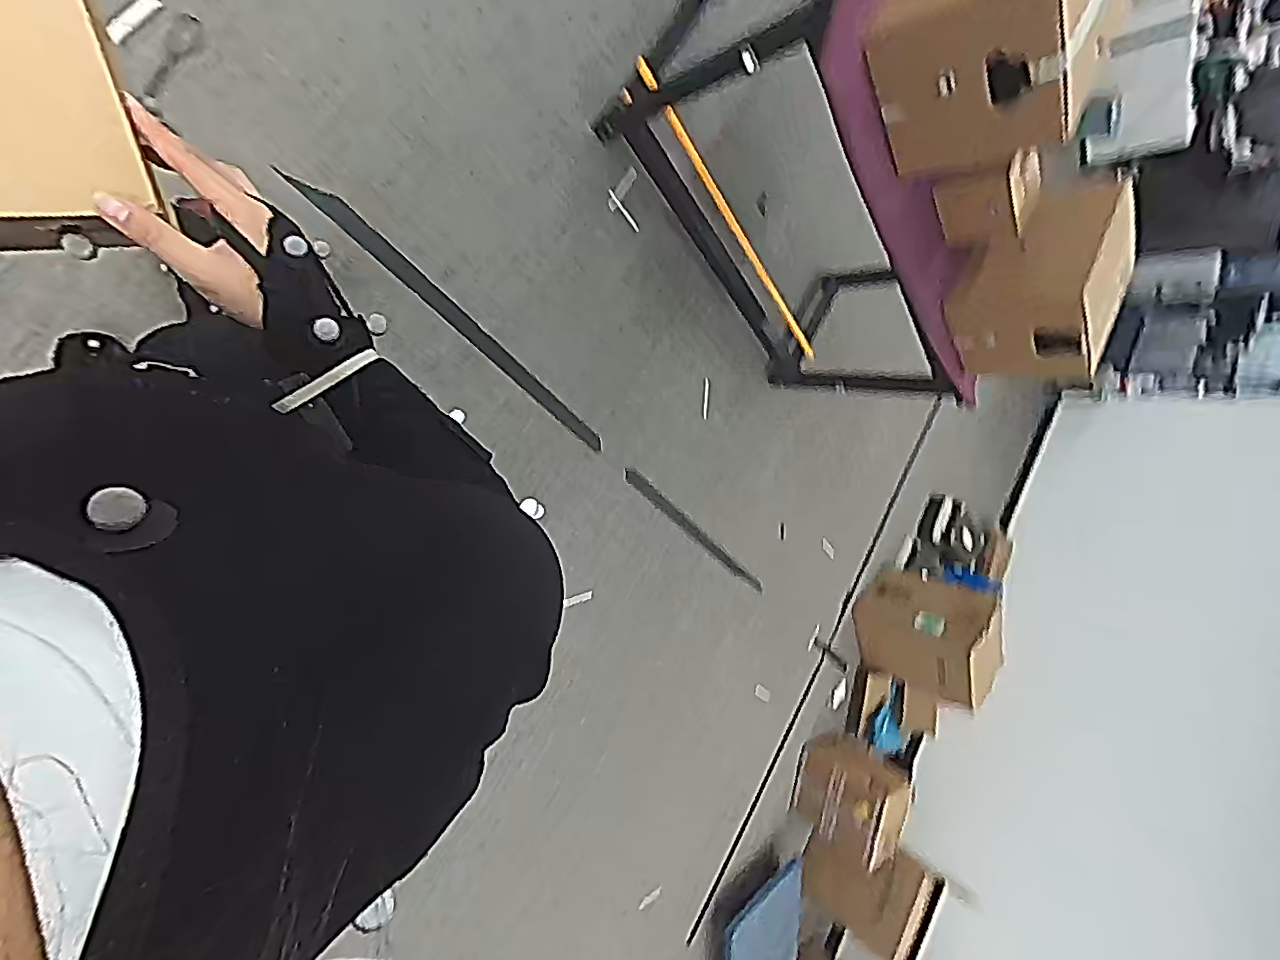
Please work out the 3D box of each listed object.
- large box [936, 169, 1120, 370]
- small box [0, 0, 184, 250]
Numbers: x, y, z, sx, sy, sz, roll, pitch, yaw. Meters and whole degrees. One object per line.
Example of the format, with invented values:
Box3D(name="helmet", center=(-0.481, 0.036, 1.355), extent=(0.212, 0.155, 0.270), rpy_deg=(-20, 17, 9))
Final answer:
Box3D(name="large box", center=(1.080, -0.556, 1.506), extent=(0.320, 0.320, 0.408), rpy_deg=(40, 72, -41))
Box3D(name="small box", center=(-0.388, -0.225, 0.300), extent=(0.179, 0.176, 0.168), rpy_deg=(-18, 114, -33))
